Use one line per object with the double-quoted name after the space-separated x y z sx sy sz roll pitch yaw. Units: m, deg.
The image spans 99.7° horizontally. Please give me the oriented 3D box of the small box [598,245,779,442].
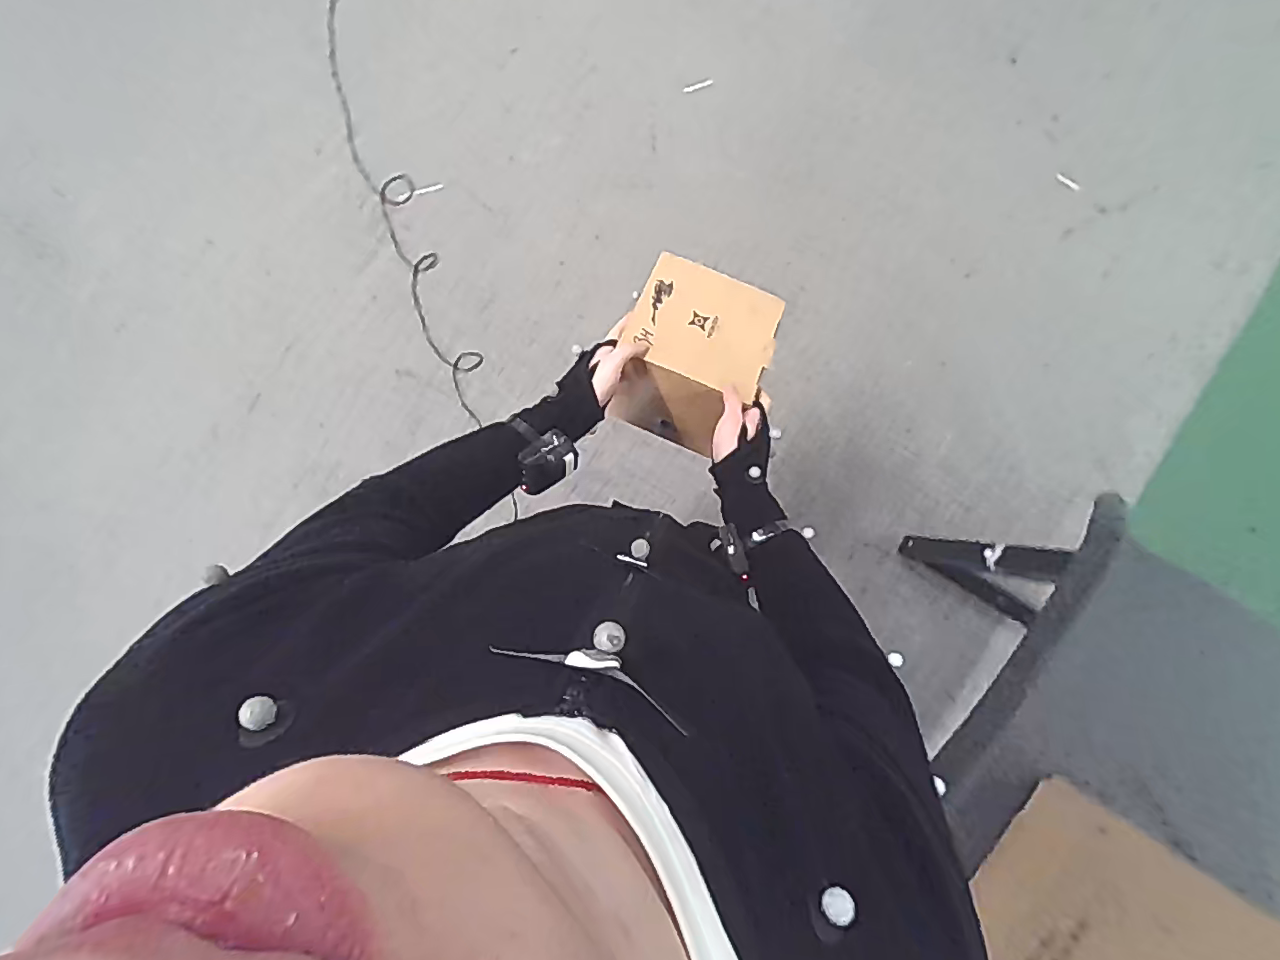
0.057 -0.172 0.737 0.179 0.176 0.168 24 69 -2 "small box"
